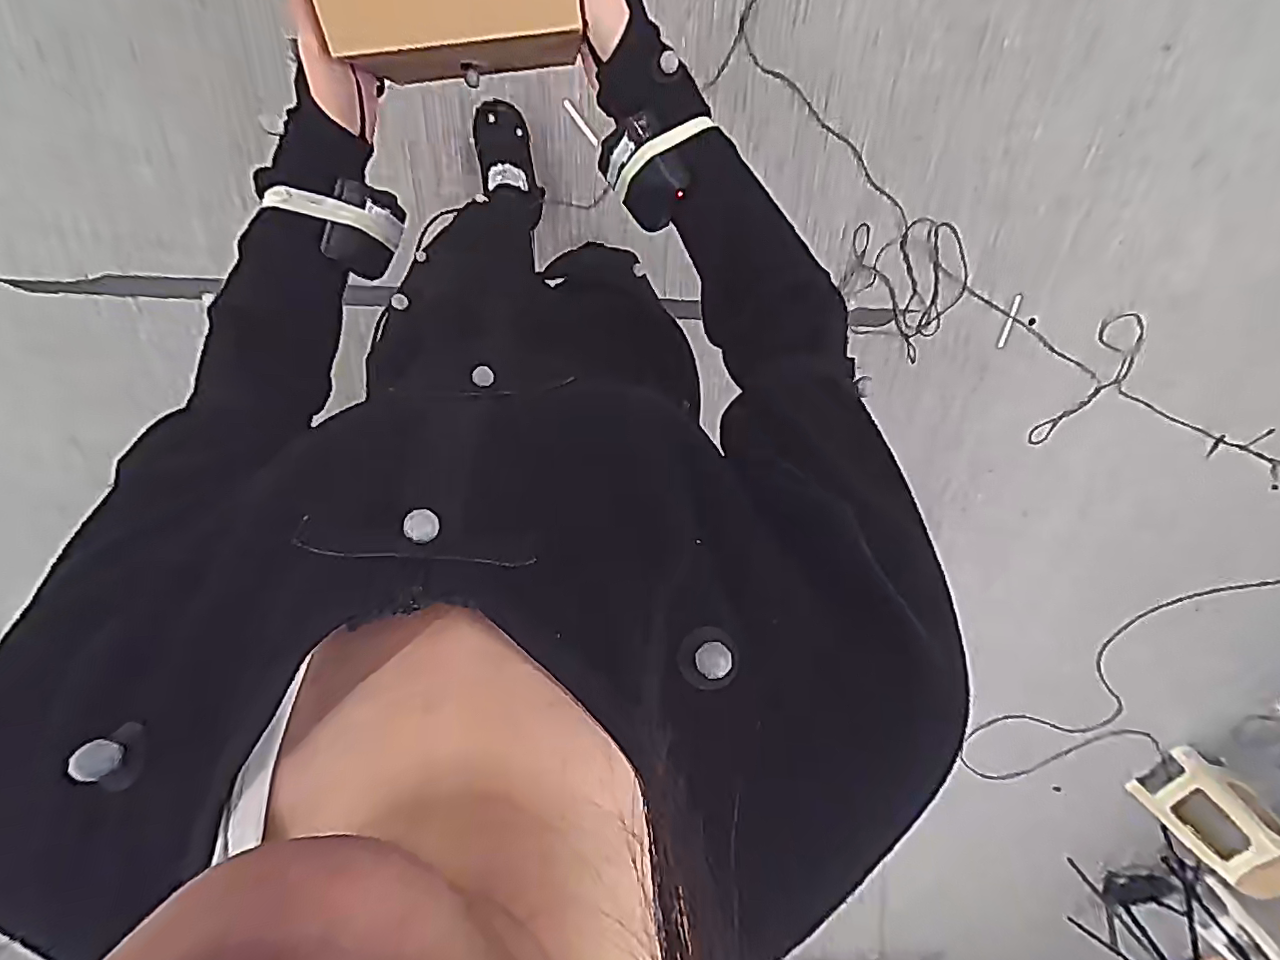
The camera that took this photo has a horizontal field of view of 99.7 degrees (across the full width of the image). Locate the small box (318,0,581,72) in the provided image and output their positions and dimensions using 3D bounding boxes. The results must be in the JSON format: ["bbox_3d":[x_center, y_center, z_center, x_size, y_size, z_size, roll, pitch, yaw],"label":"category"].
[{"bbox_3d":[-0.134,-0.400,0.373,0.168,0.176,0.179,-9,121,-3],"label":"small box"}]

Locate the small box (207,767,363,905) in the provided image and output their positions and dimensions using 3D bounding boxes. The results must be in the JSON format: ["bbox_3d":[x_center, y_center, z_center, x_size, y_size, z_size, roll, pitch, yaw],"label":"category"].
[{"bbox_3d":[-0.639,0.655,1.000,0.168,0.176,0.179,0,119,-5],"label":"small box"}]
